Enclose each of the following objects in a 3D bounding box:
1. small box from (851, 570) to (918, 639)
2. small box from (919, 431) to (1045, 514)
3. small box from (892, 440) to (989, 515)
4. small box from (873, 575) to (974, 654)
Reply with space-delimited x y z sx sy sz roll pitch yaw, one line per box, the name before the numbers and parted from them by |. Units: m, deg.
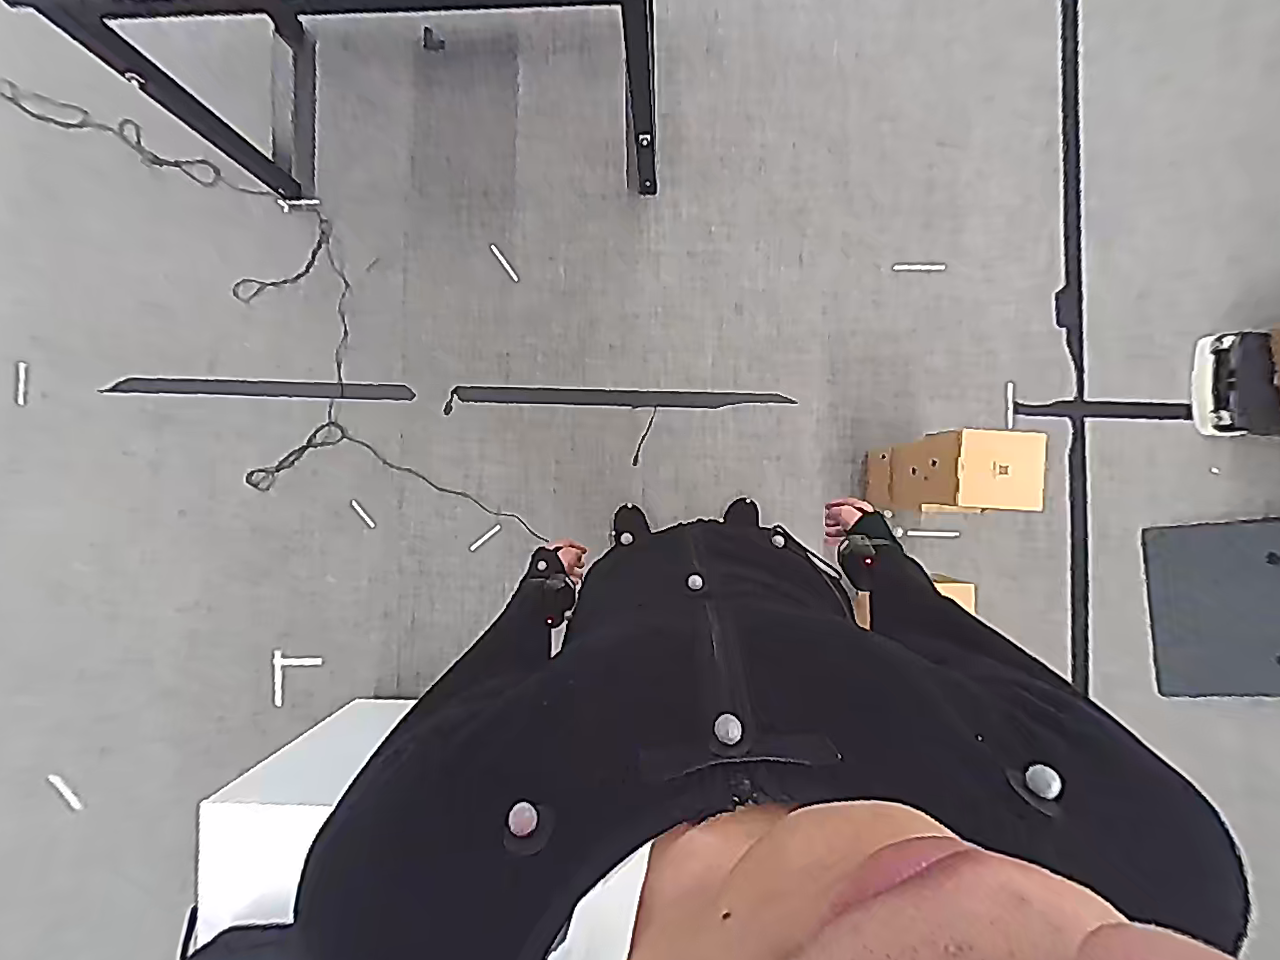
small box | 0.716 0.348 1.531 0.179 0.176 0.168 -1 88 3
small box | 0.754 -0.017 1.205 0.179 0.176 0.168 3 90 3
small box | 0.754 -0.005 1.368 0.168 0.176 0.179 1 90 2
small box | 0.711 0.333 1.367 0.179 0.176 0.168 1 88 3
